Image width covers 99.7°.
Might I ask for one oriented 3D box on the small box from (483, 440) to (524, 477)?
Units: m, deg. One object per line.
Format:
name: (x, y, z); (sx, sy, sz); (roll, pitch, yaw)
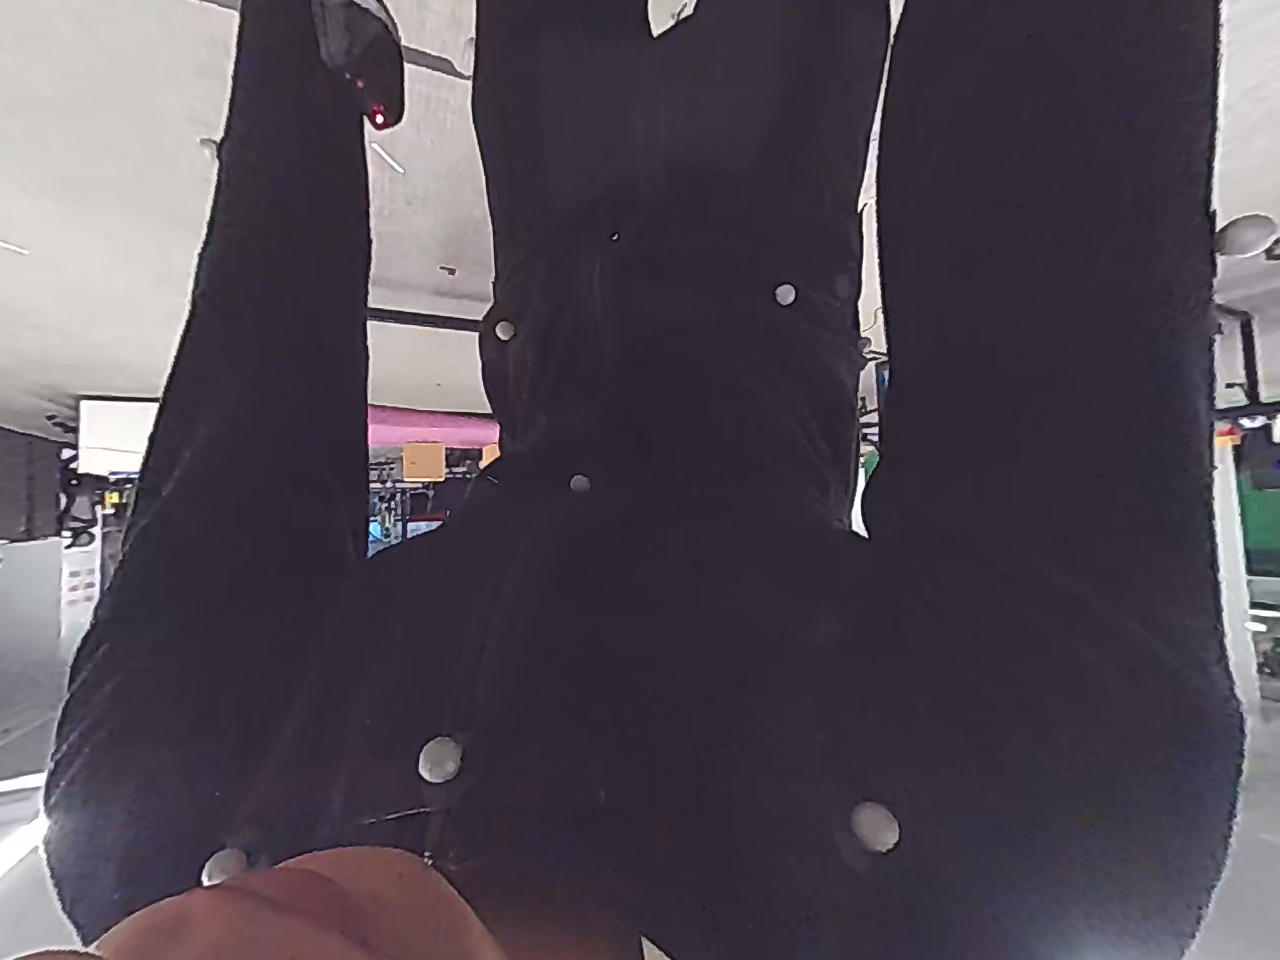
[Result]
small box: (-0.683, -0.103, 2.704); (0.168, 0.176, 0.179); (0, 176, -28)
